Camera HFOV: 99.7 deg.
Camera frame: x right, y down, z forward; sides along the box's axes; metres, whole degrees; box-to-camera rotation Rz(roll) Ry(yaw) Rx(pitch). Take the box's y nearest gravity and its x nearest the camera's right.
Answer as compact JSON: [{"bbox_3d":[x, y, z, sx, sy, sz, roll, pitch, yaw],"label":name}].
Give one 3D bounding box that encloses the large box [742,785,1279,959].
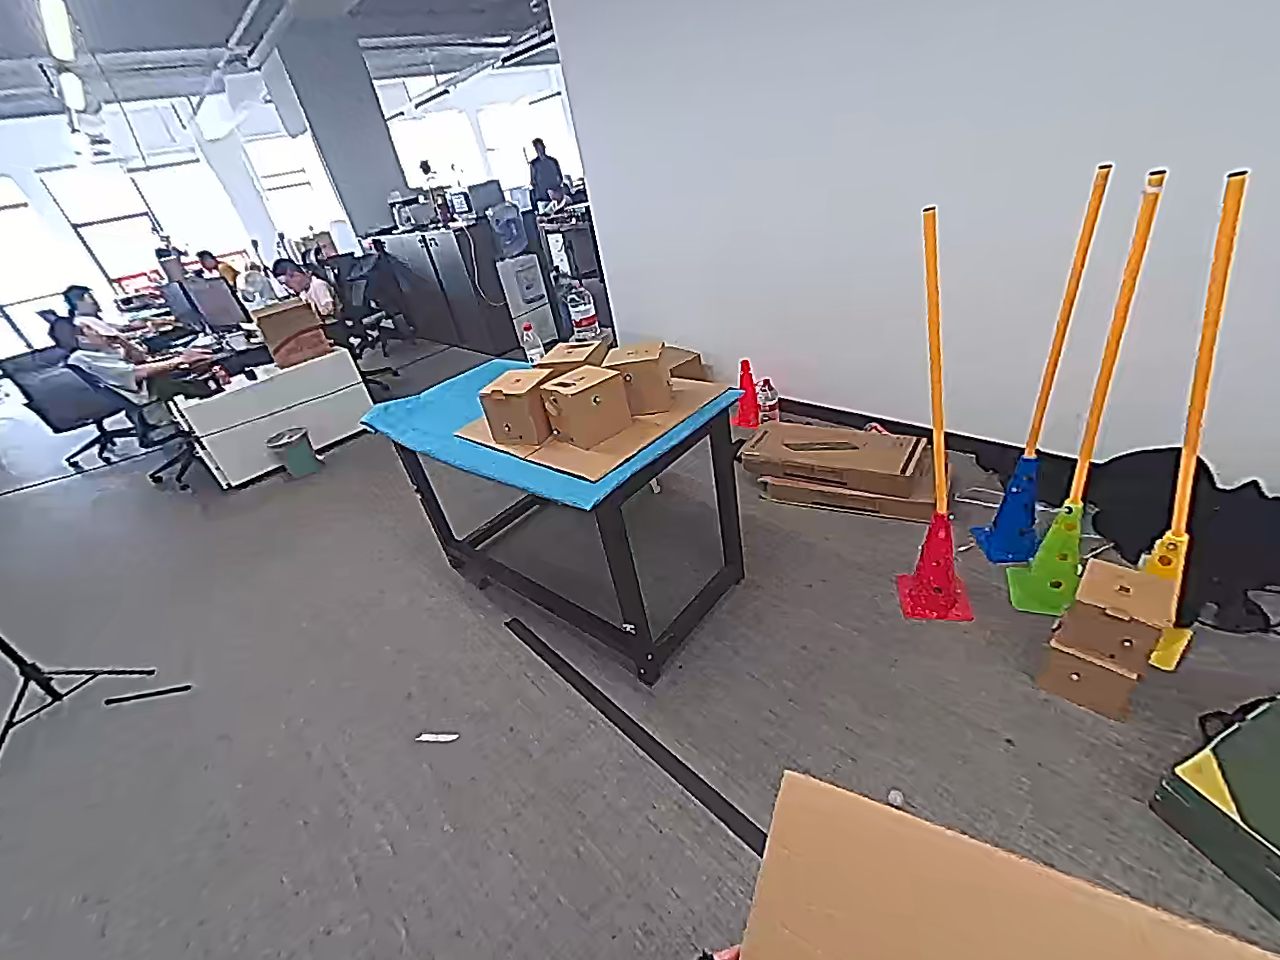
[{"bbox_3d":[0.276,0.446,0.344,0.408,0.320,0.320,7,61,30],"label":"large box"}]
